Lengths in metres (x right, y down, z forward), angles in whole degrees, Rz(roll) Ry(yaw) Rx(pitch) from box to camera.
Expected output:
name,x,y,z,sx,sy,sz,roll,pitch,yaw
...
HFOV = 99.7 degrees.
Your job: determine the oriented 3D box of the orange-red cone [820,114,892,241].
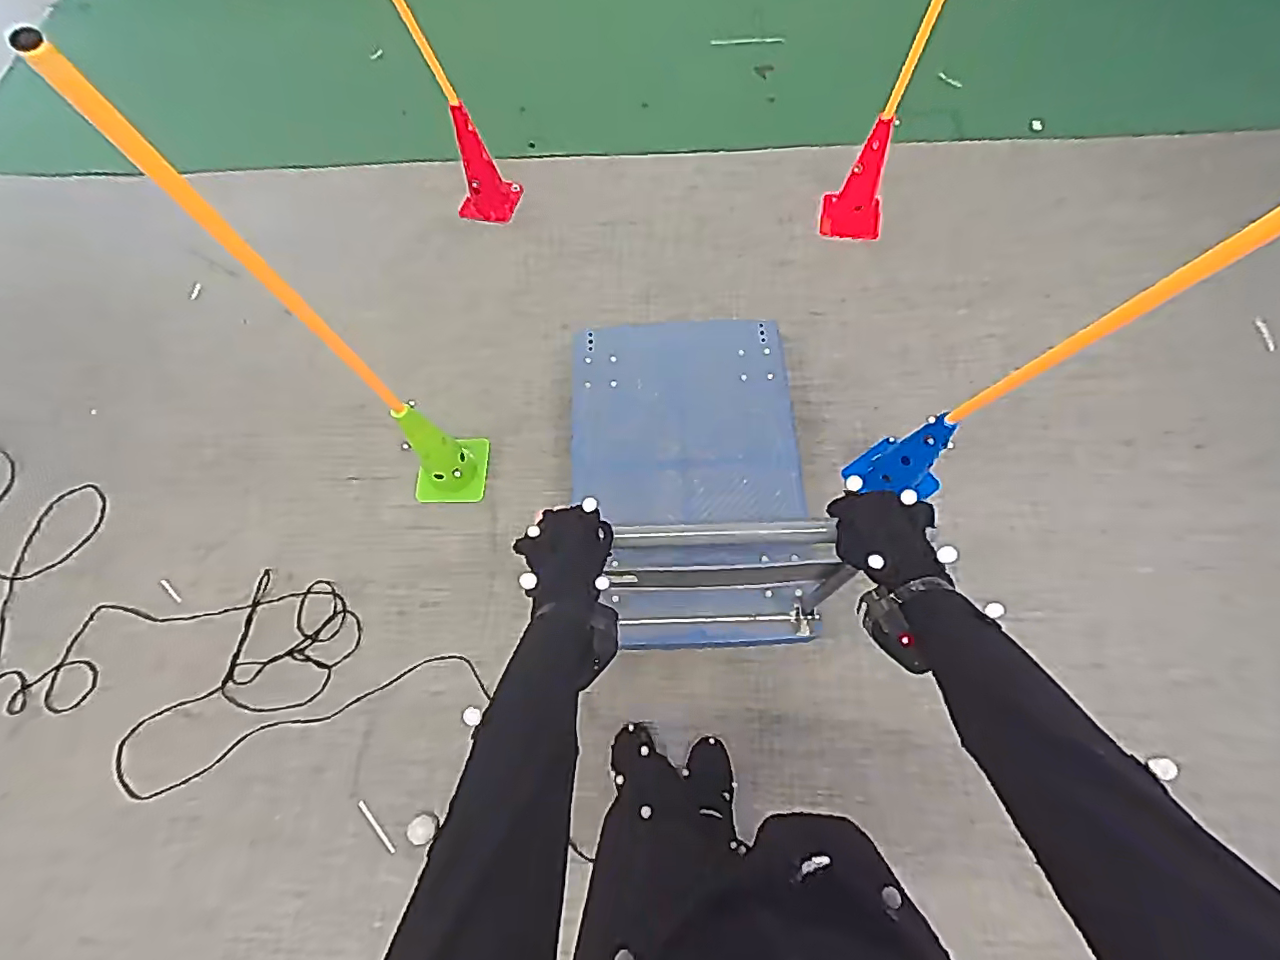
name,x,y,z,sx,sy,sz,roll,pitch,yaw
orange-red cone,0.718,-0.969,1.708,0.198,0.360,0.199,10,70,9
